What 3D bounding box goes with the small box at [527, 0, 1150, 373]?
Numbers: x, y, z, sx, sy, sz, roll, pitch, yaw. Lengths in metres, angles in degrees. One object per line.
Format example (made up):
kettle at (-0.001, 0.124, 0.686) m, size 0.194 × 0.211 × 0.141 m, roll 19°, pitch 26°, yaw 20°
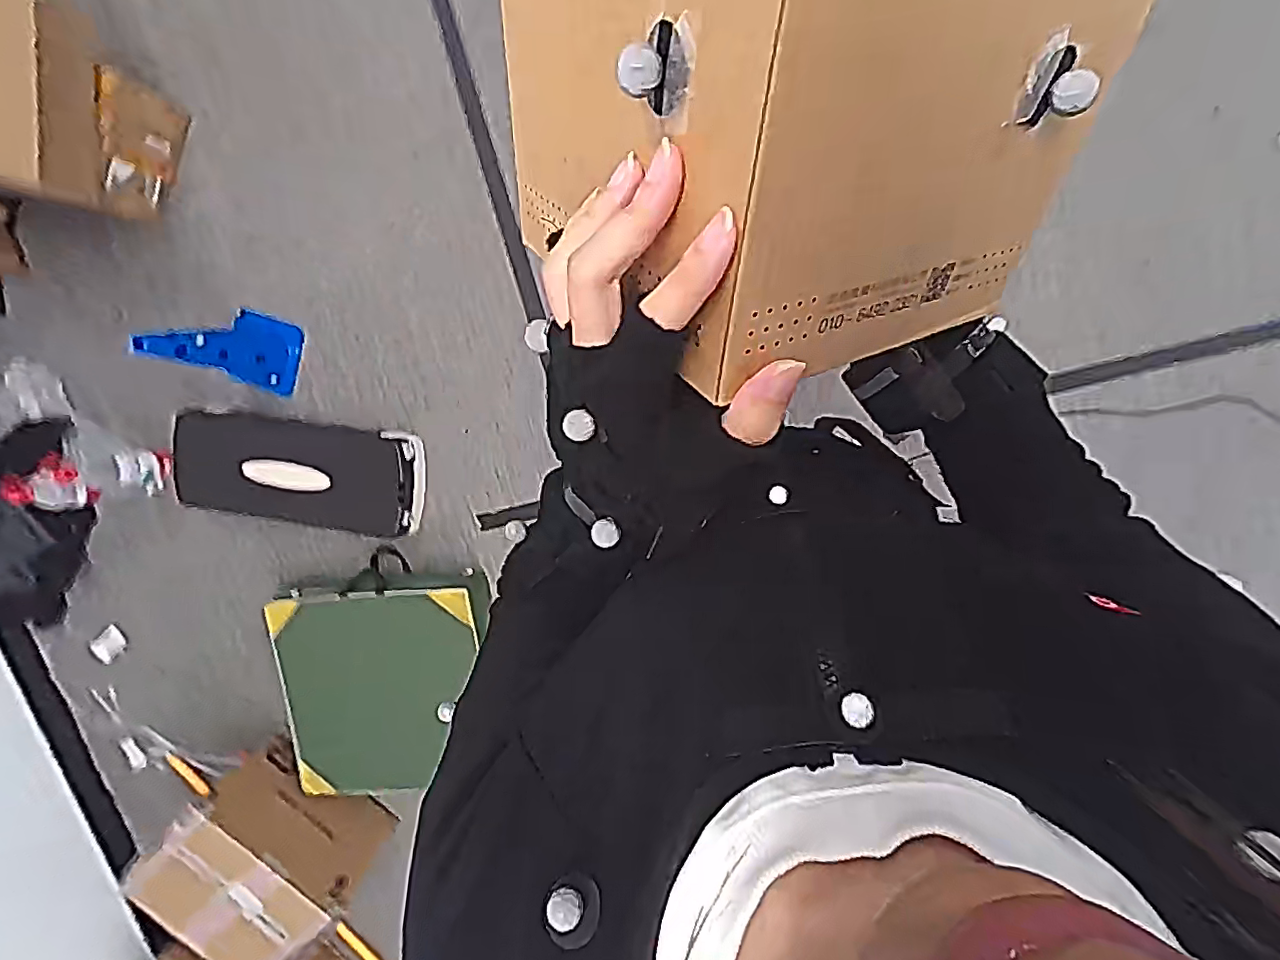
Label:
small box at (0.064, -0.158, 0.223) m, size 0.168 × 0.179 × 0.176 m, roll -19°, pitch 138°, yaw -25°
